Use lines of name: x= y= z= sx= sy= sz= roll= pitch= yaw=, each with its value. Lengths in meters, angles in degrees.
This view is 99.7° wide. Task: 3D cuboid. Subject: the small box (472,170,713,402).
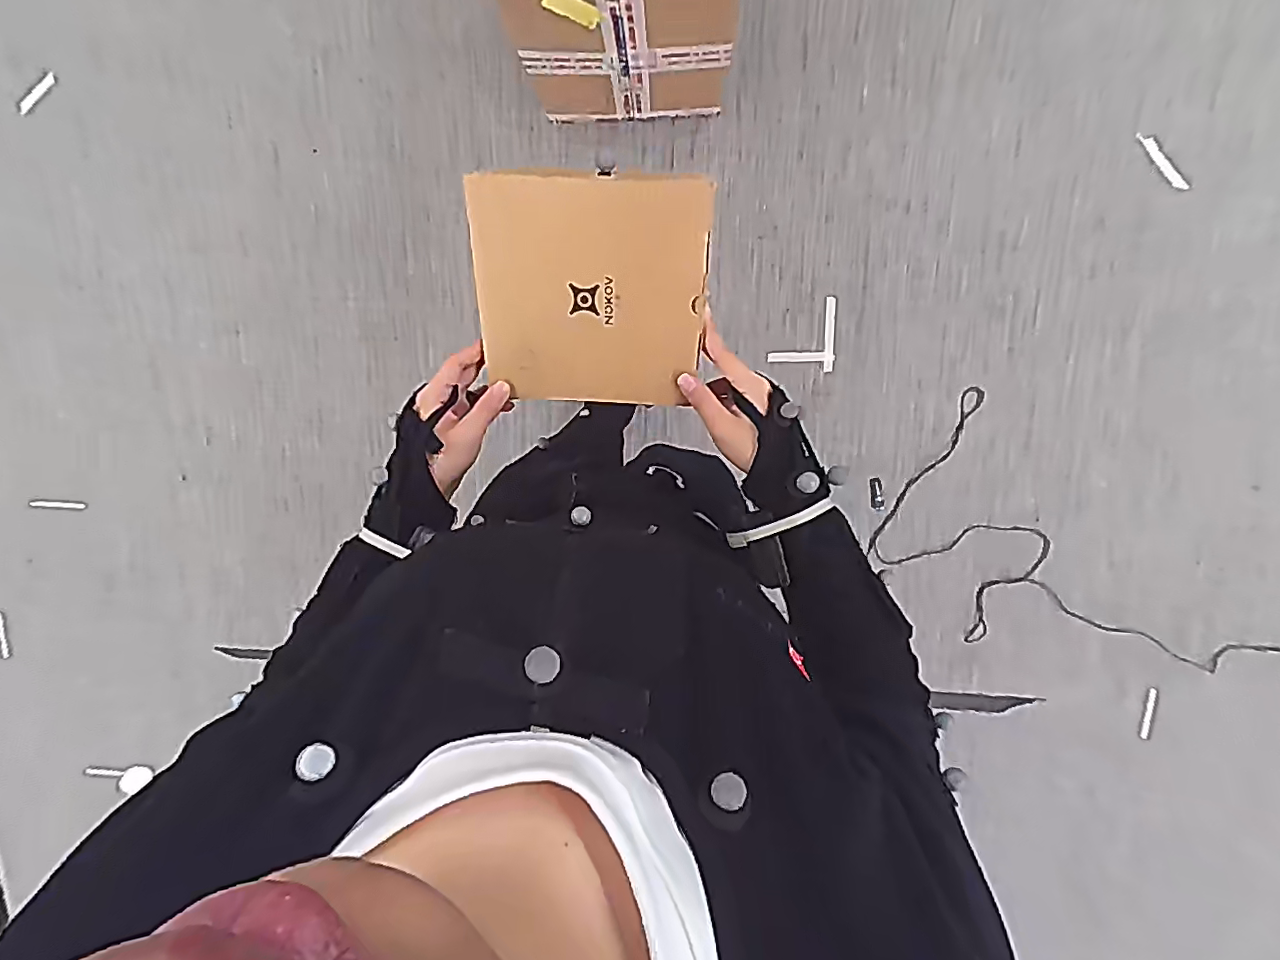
small box: x=-0.034 y=-0.182 z=0.491 sx=0.179 sy=0.176 sz=0.168 roll=3 pitch=120 yaw=1
